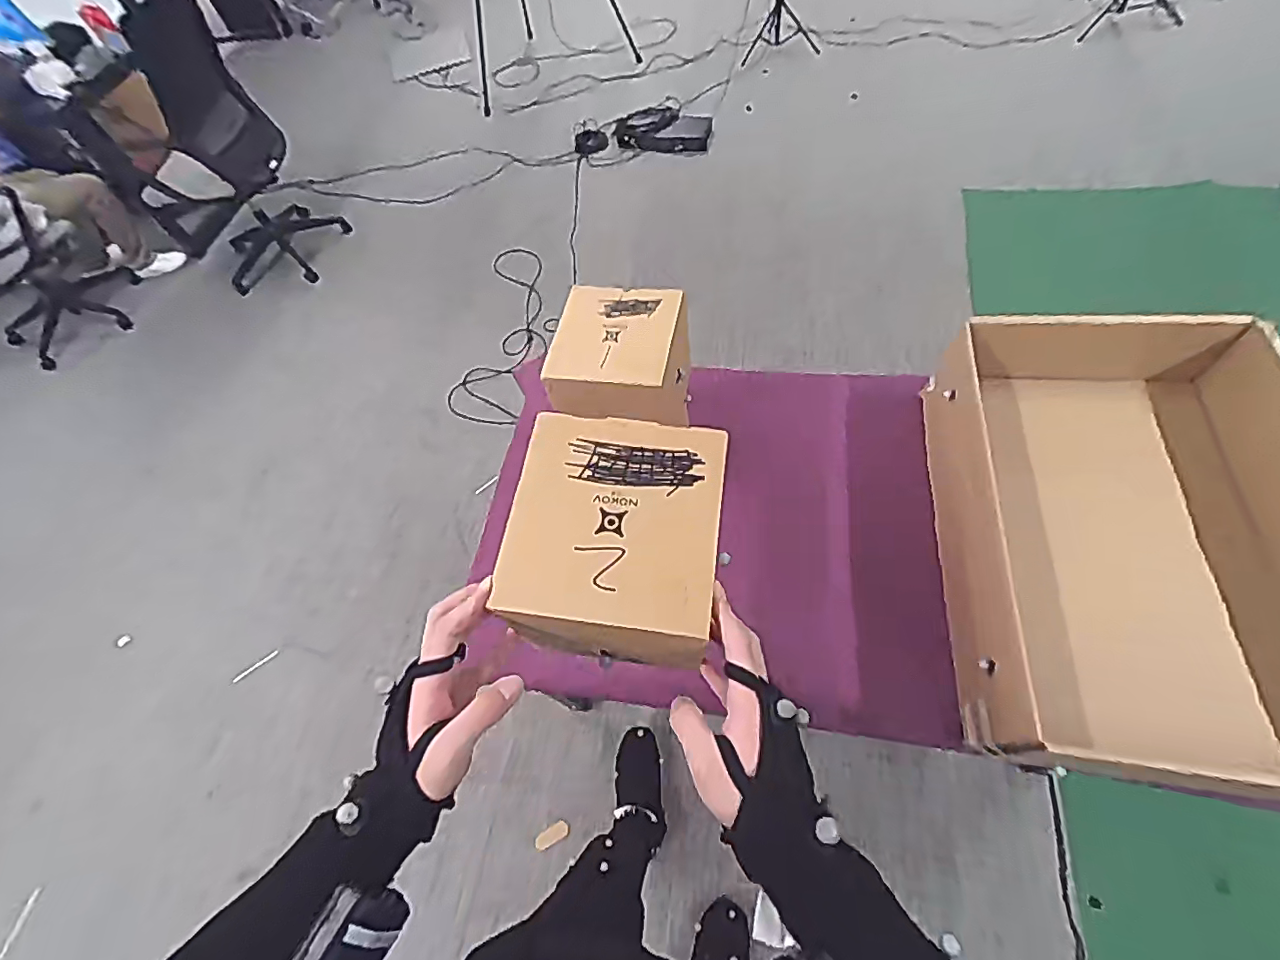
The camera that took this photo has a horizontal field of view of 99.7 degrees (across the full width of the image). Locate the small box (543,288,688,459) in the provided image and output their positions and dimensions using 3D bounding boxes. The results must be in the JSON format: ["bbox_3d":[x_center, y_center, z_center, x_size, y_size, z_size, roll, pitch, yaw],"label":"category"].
[{"bbox_3d":[-0.023,-0.154,0.796,0.168,0.176,0.179,6,61,12],"label":"small box"}]

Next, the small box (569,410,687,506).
[{"bbox_3d":[-0.010,-0.068,0.935,0.168,0.176,0.179,3,59,10],"label":"small box"}]
